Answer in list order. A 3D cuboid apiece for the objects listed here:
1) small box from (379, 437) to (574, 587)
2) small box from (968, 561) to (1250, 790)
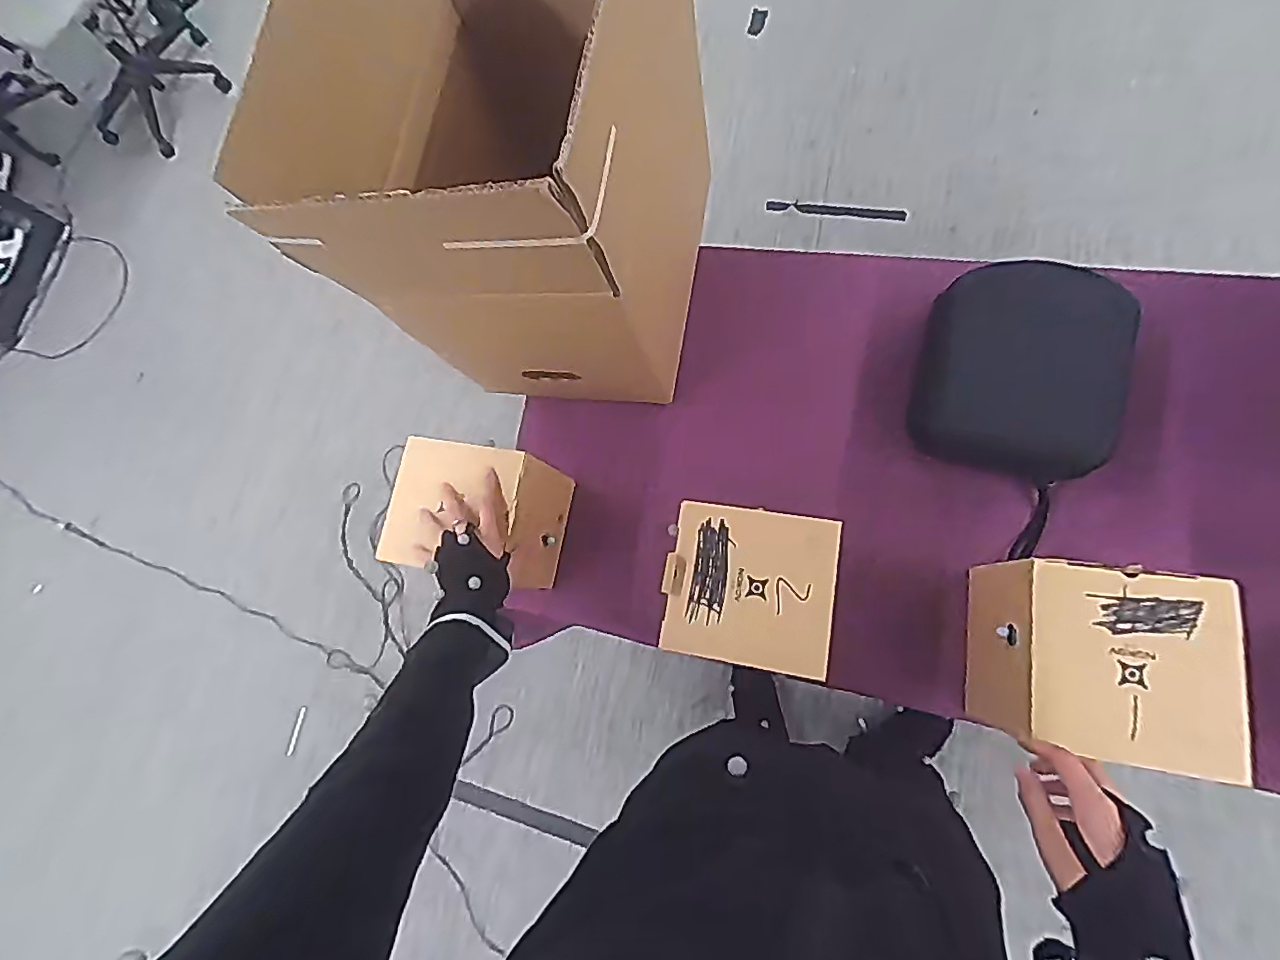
[{"bbox_3d":[-0.213,0.052,0.747,0.179,0.176,0.168,9,80,15],"label":"small box"},{"bbox_3d":[0.464,0.187,0.567,0.168,0.176,0.179,5,79,14],"label":"small box"}]
